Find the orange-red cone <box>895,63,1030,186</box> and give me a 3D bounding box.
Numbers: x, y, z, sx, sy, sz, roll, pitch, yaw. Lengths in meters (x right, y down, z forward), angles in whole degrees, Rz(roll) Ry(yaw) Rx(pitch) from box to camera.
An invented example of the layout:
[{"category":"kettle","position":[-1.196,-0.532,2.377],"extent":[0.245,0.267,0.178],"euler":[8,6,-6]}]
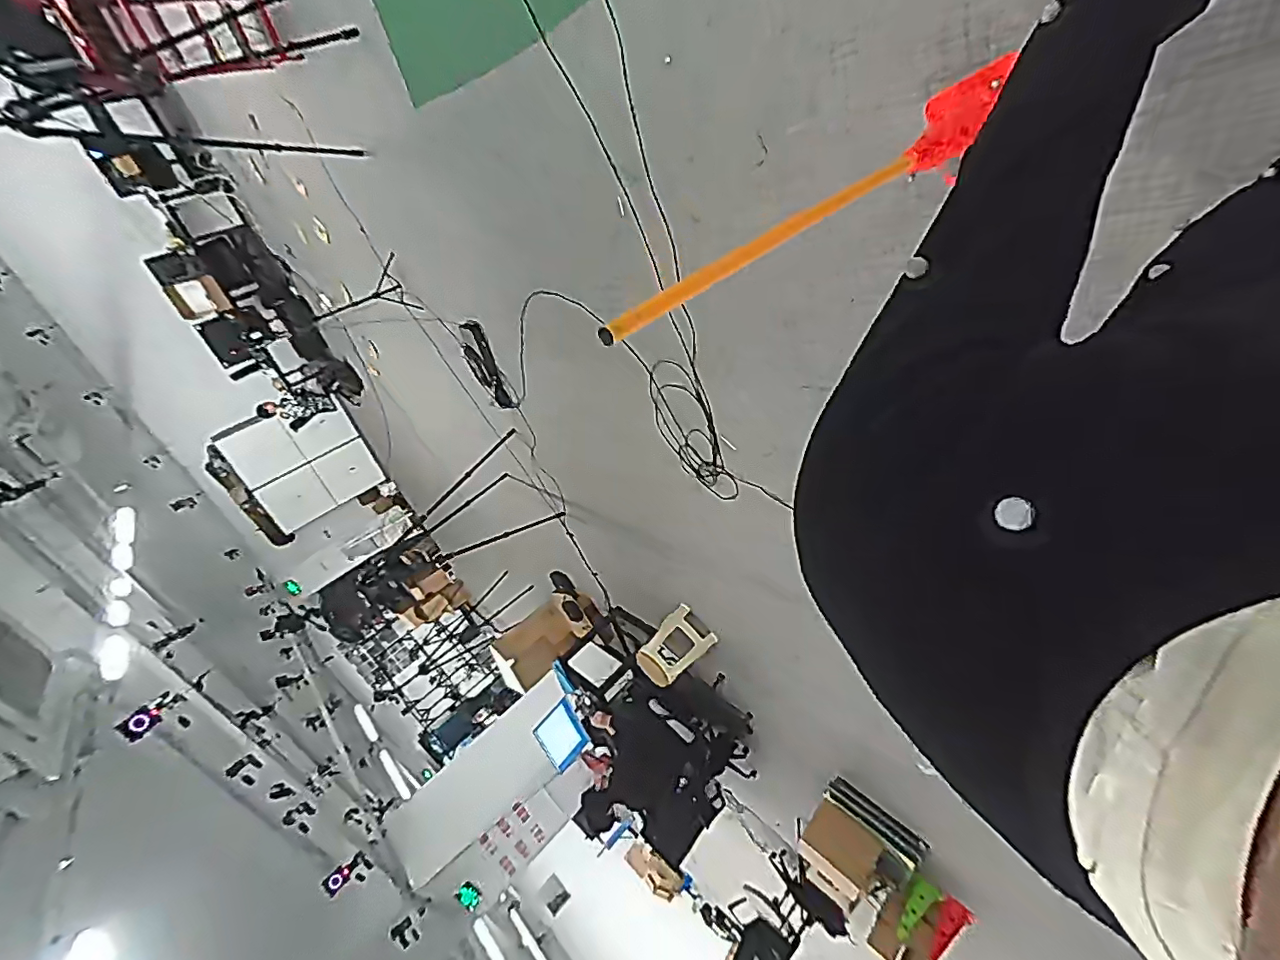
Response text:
[{"category":"orange-red cone","position":[0.649,-0.715,1.160],"extent":[0.199,0.360,0.198],"euler":[3,123,56]}]
